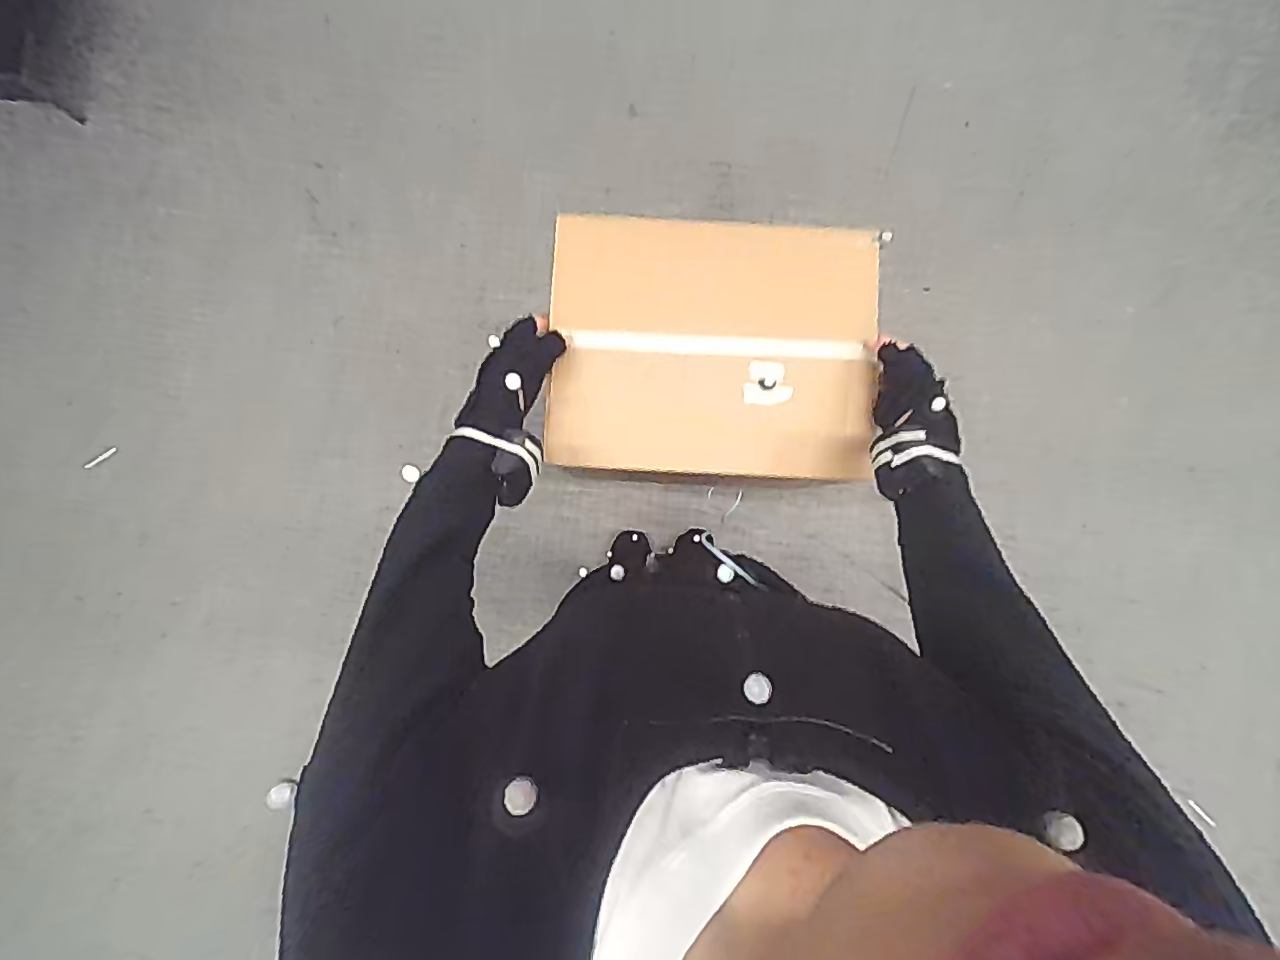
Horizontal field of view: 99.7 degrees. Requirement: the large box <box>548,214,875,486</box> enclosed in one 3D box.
[{"bbox_3d":[0.086,-0.160,0.811,0.408,0.320,0.320,3,86,-1],"label":"large box"}]
